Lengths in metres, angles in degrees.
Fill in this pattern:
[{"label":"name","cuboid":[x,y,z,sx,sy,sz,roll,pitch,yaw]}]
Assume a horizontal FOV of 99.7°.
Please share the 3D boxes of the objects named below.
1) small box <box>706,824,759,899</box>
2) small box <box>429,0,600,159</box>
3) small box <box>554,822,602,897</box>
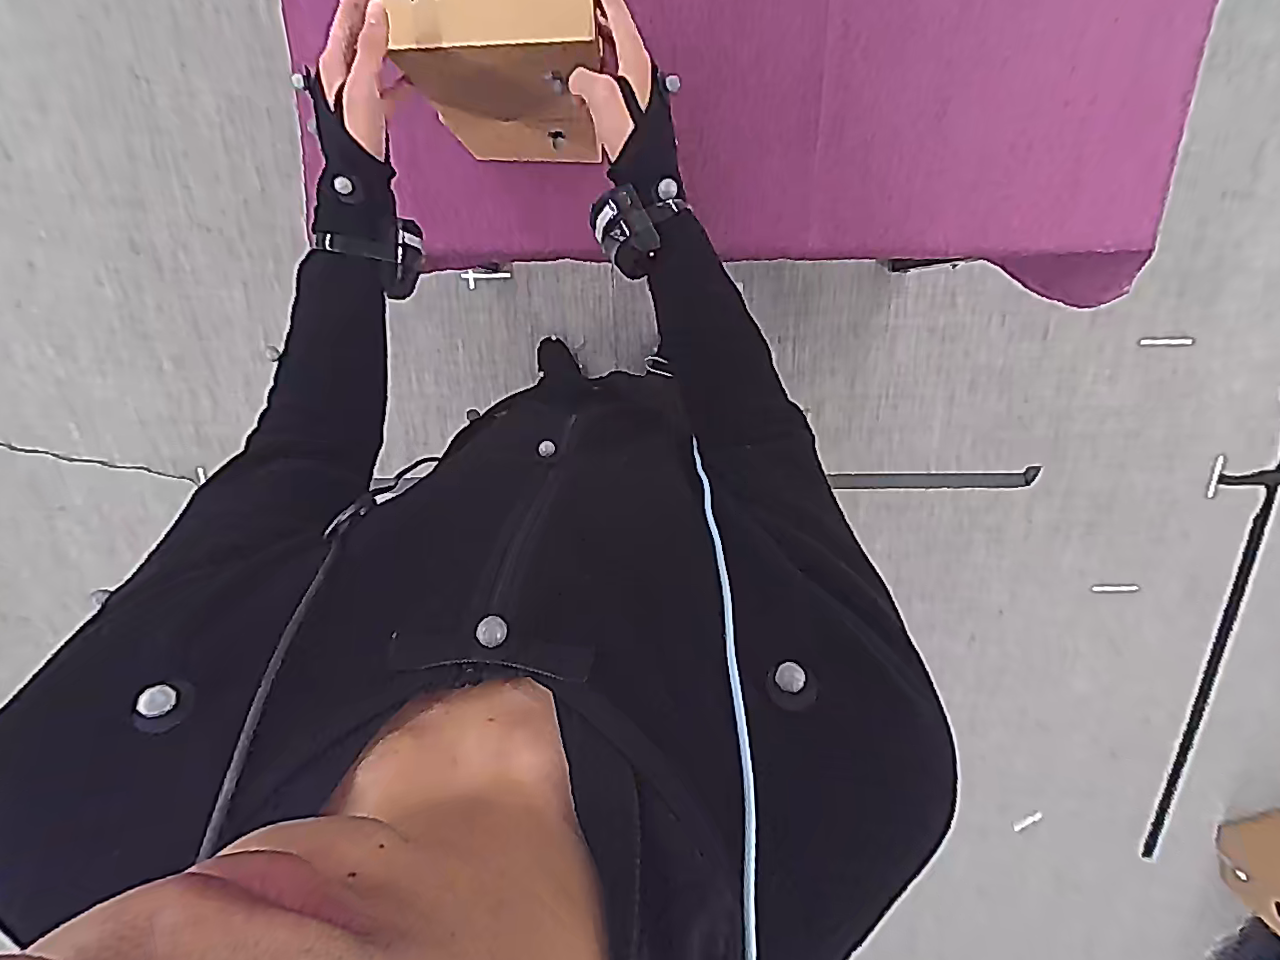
[{"label":"small box","cuboid":[0.344,1.435,2.043,0.168,0.176,0.179,0,108,-2]},{"label":"small box","cuboid":[-0.137,-0.500,0.649,0.179,0.176,0.168,1,107,-2]},{"label":"small box","cuboid":[-0.229,1.414,2.021,0.168,0.176,0.179,2,108,-1]}]
